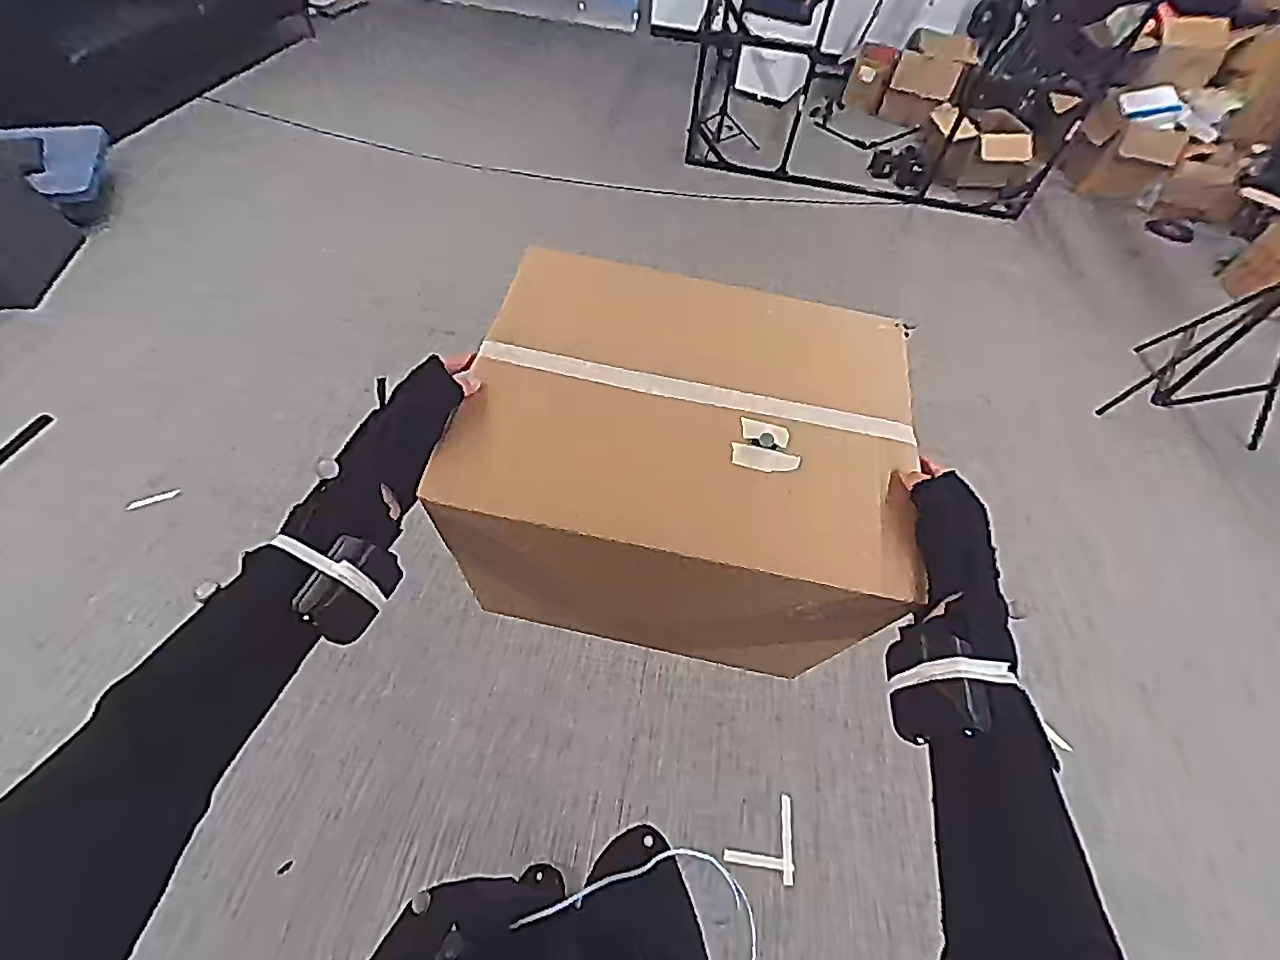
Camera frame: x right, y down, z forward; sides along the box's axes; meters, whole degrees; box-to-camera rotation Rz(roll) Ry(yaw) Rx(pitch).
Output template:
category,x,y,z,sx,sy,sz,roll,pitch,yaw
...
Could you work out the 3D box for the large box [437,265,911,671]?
category,x,y,z,sx,sy,sz,roll,pitch,yaw
large box,0.036,0.005,0.640,0.408,0.320,0.320,12,60,1
